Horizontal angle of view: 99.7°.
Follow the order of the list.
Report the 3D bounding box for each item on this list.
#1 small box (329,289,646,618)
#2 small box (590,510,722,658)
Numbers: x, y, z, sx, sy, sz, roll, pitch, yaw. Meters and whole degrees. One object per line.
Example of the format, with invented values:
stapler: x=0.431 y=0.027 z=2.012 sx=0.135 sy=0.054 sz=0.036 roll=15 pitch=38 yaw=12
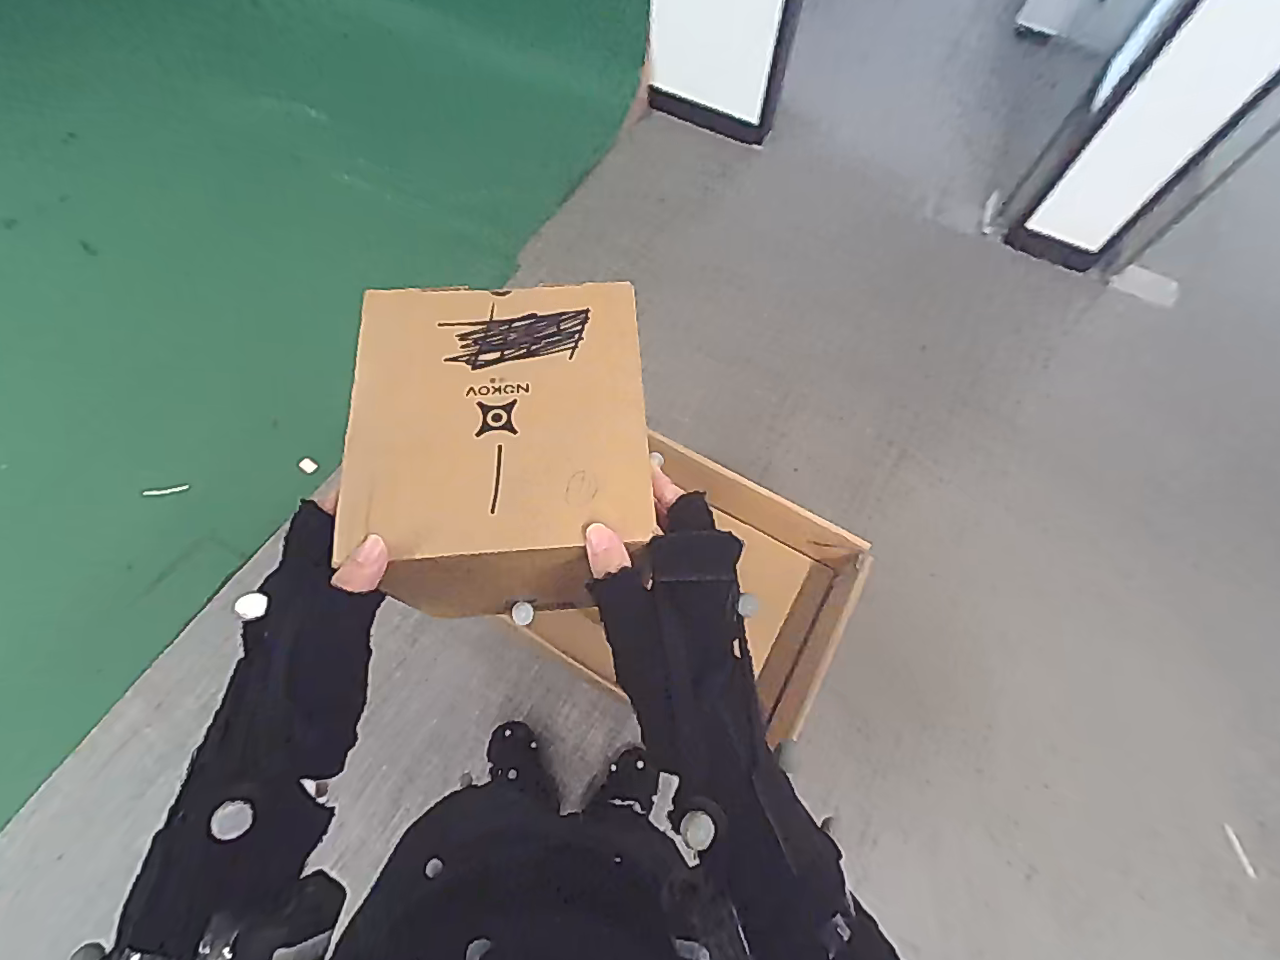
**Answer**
small box: x=-0.088 y=-0.009 z=0.387 sx=0.168 sy=0.176 sz=0.179 roll=-5 pitch=67 yaw=-4
small box: x=0.020 y=0.173 z=0.895 sx=0.168 sy=0.176 sz=0.179 roll=22 pitch=68 yaw=11
